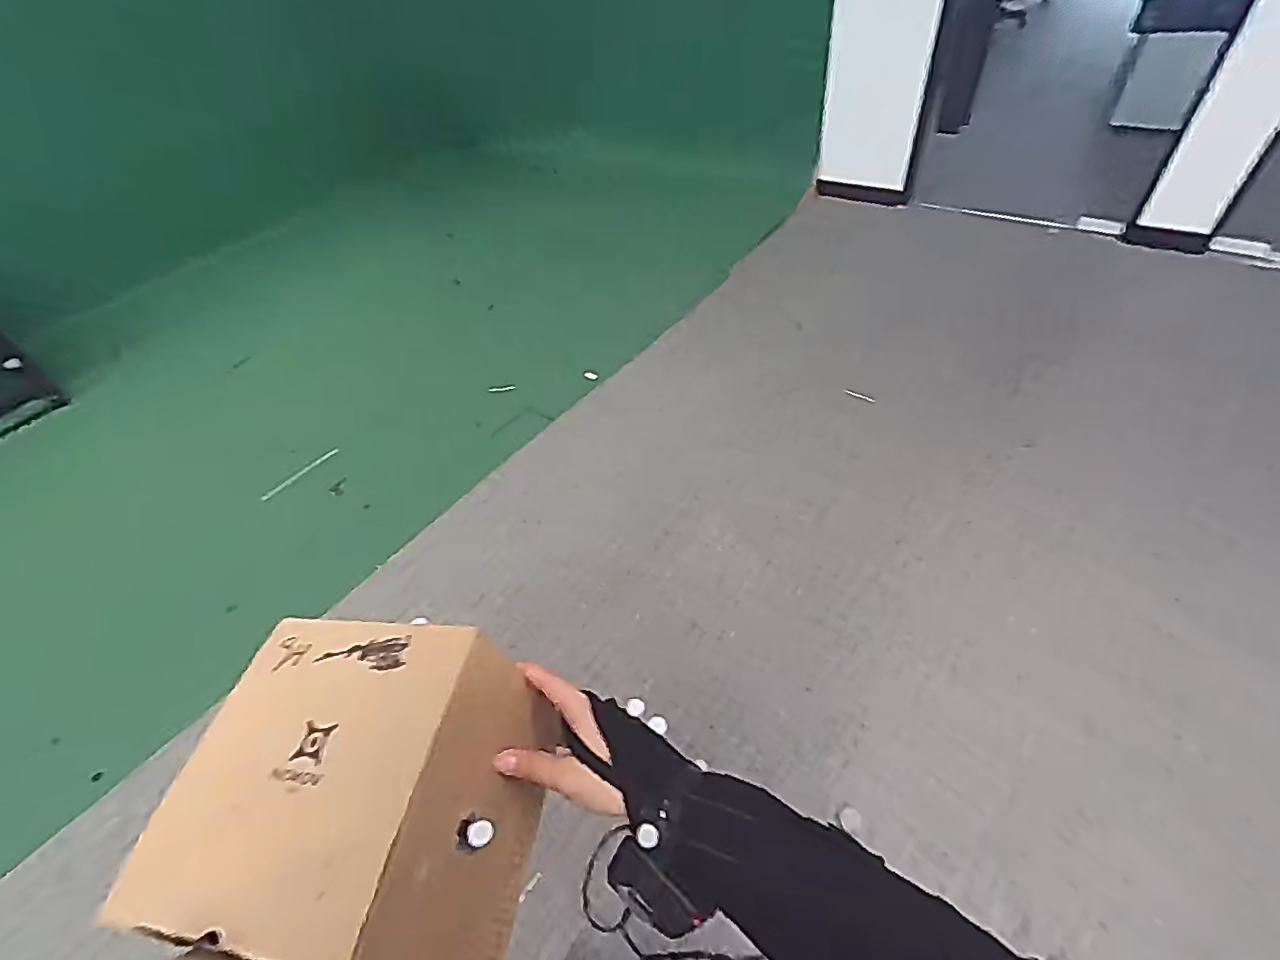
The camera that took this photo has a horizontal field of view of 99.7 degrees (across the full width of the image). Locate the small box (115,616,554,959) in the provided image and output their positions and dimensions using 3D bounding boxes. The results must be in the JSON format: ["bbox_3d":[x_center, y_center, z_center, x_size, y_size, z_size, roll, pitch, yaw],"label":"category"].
[{"bbox_3d":[-0.177,0.216,0.382,0.168,0.176,0.179,-1,49,16],"label":"small box"}]
